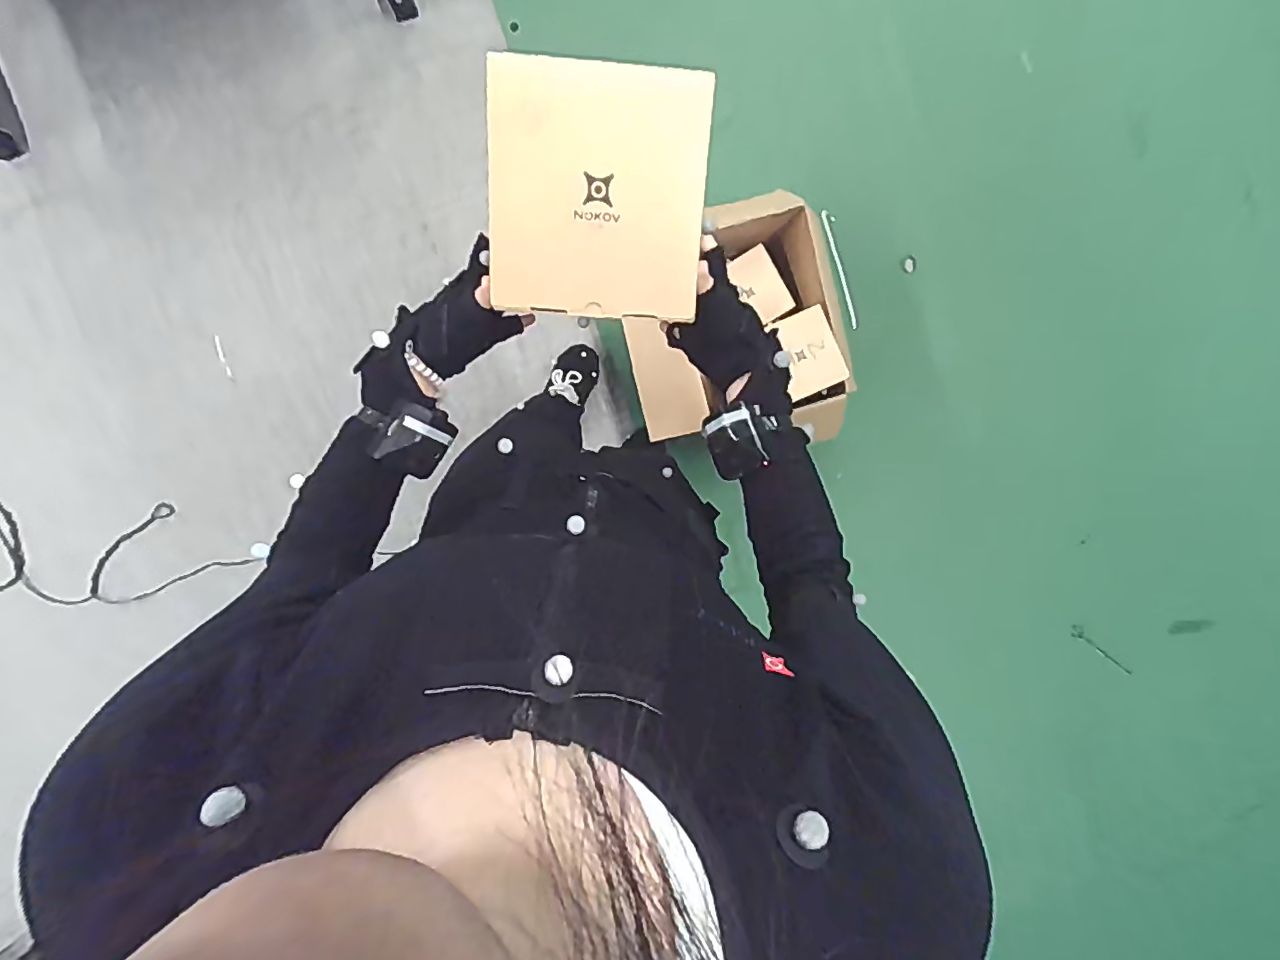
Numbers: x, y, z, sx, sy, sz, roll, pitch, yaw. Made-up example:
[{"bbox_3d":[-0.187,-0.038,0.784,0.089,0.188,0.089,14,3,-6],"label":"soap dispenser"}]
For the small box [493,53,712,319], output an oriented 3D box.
[{"bbox_3d":[-0.039,-0.247,0.497,0.168,0.176,0.179,3,109,-5],"label":"small box"}]
